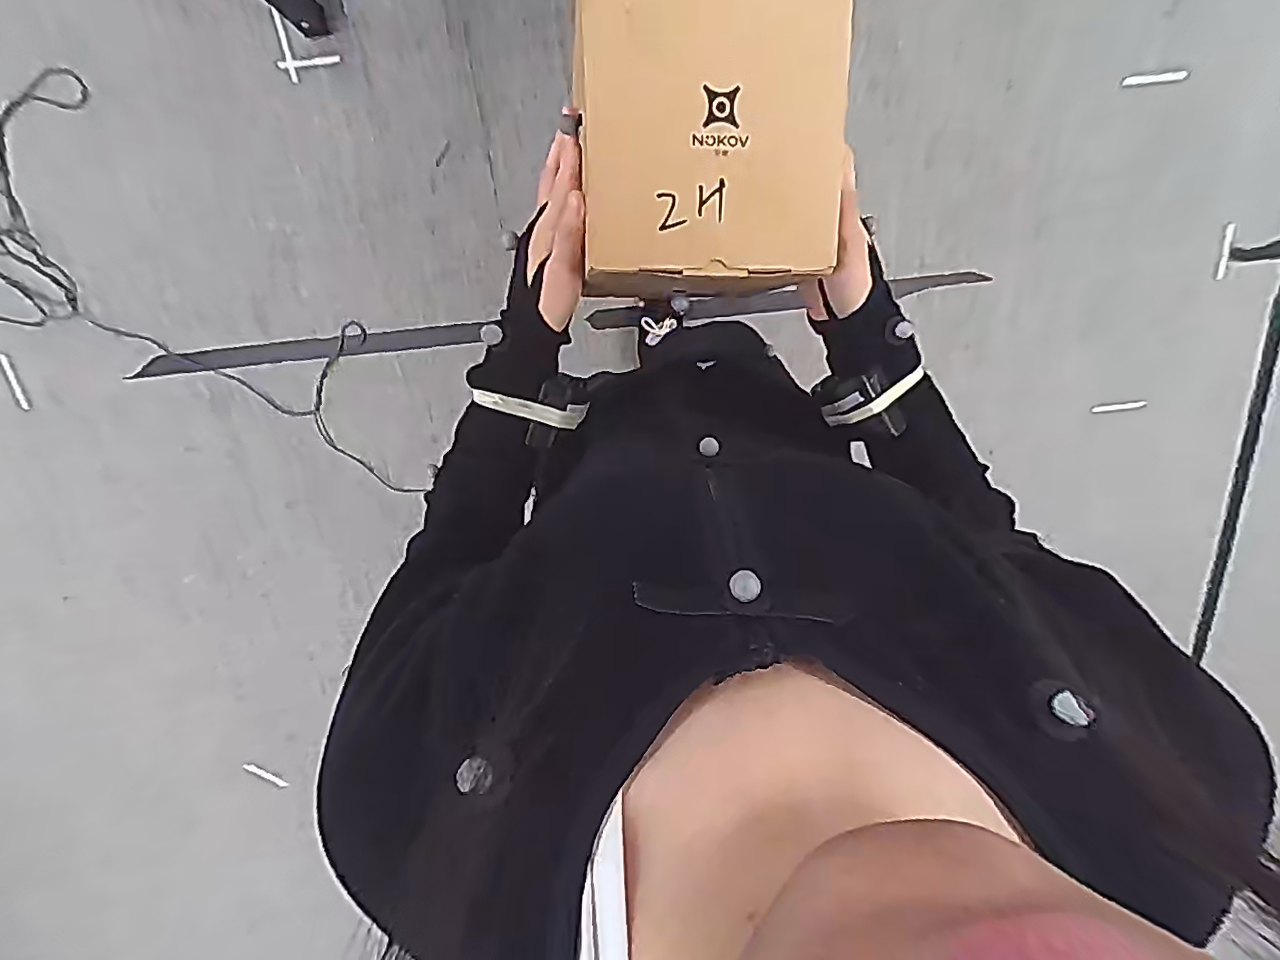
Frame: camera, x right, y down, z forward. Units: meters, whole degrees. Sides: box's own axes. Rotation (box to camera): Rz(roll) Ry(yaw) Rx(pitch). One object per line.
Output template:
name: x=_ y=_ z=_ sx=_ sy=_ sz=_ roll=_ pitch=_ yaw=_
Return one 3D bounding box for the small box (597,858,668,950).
small box: x=-0.023 y=1.194 z=1.506 sx=0.179 sy=0.176 sz=0.168 roll=-8 pitch=107 yaw=0

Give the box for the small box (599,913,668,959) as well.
small box: x=-0.010 y=1.234 z=1.349 sx=0.168 sy=0.176 sz=0.179 roll=-7 pitch=106 yaw=-1

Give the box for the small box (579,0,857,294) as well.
small box: x=0.040 y=-0.243 z=0.407 sx=0.168 sy=0.176 sz=0.179 roll=-2 pitch=103 yaw=-7
